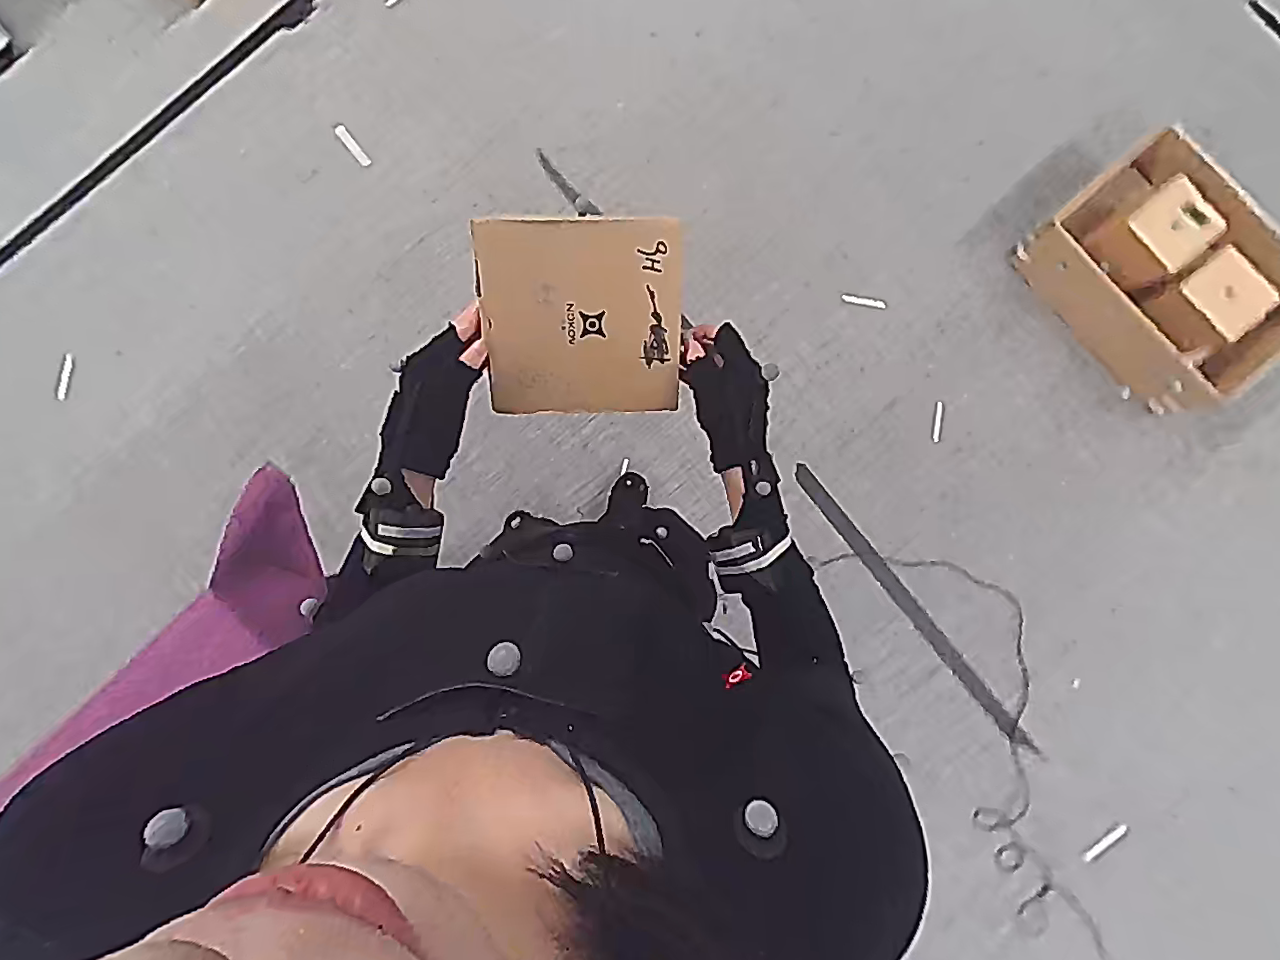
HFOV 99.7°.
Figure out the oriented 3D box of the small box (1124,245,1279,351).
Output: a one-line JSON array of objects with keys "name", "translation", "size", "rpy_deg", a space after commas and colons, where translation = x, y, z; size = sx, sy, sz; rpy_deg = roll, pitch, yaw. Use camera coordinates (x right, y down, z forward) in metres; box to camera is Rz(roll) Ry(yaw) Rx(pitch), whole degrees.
[{"name": "small box", "translation": [1.420, -0.451, 1.380], "size": [0.168, 0.176, 0.179], "rpy_deg": [-40, 85, 0]}]
